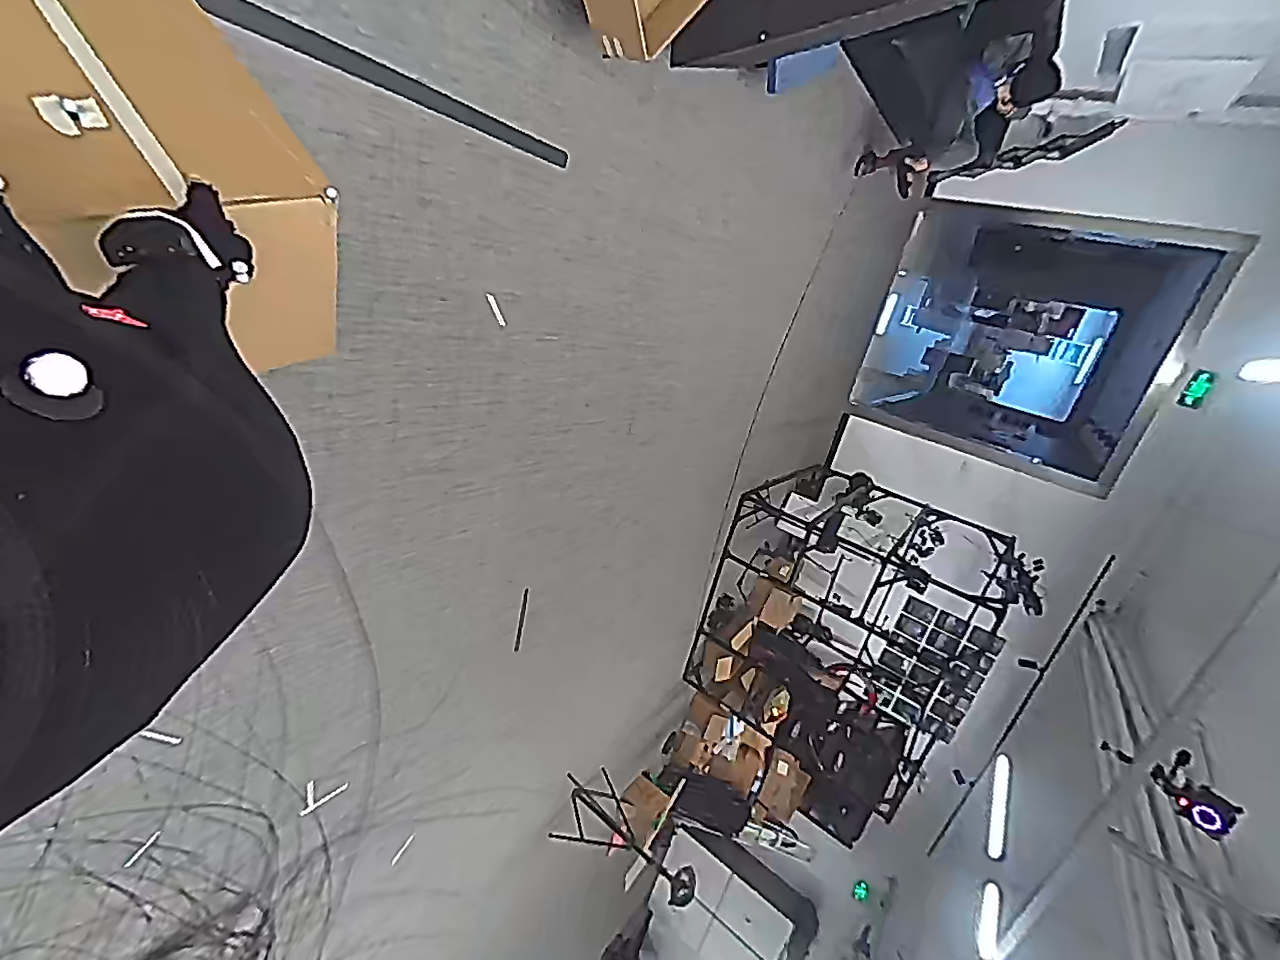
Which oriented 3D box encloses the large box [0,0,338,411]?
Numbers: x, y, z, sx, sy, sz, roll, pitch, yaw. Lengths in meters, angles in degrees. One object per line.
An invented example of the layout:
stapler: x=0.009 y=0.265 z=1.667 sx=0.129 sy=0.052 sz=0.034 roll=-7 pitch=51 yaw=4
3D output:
large box: x=-0.669 y=-0.373 z=0.724 sx=0.320 sy=0.408 sz=0.320 roll=-33 pitch=174 yaw=-36
